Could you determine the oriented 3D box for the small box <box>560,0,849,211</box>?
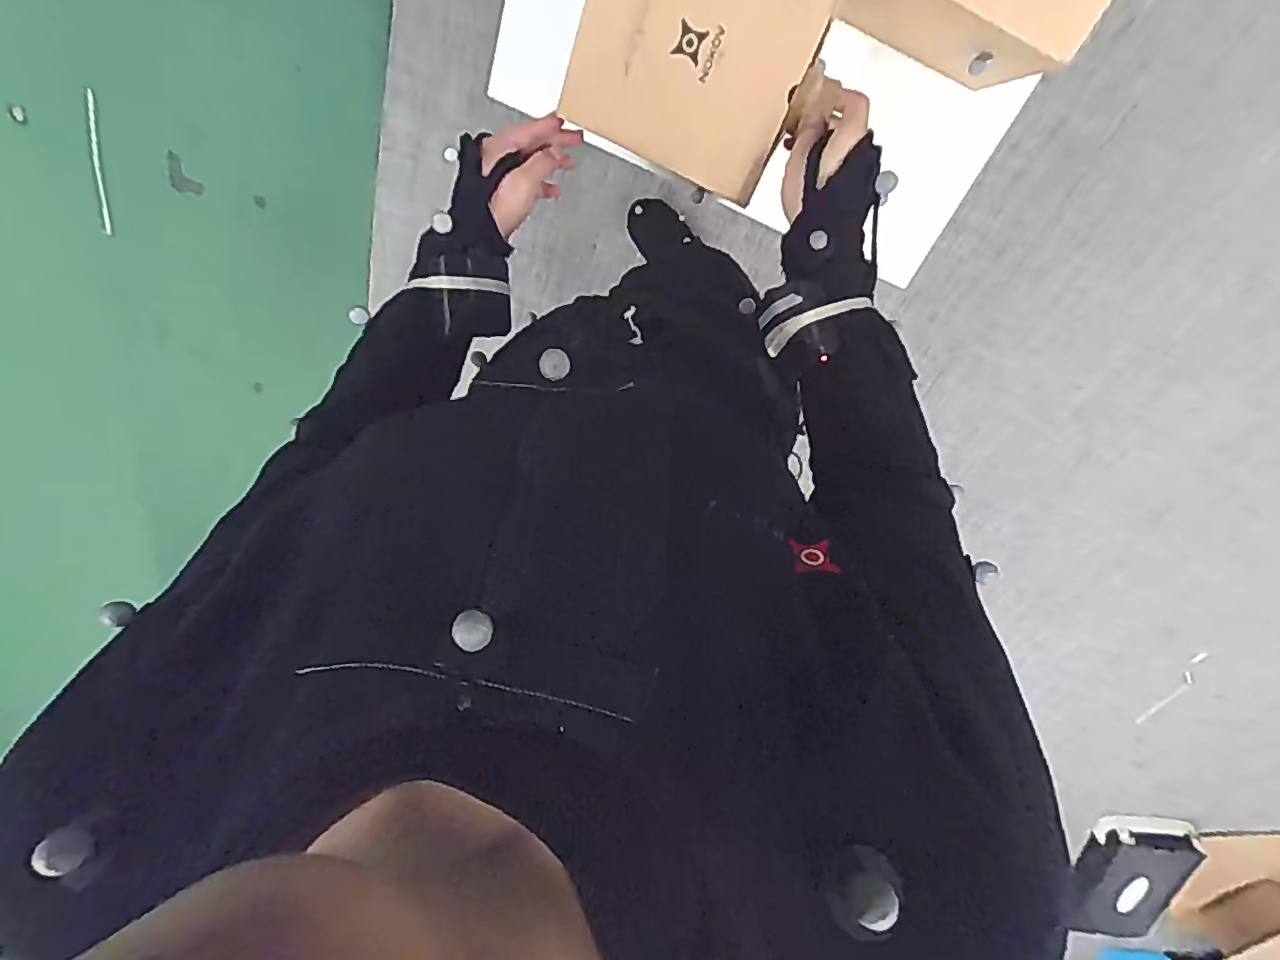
[{"bbox_3d":[0.053,-0.360,0.475,0.179,0.176,0.168,23,119,-4],"label":"small box"}]
